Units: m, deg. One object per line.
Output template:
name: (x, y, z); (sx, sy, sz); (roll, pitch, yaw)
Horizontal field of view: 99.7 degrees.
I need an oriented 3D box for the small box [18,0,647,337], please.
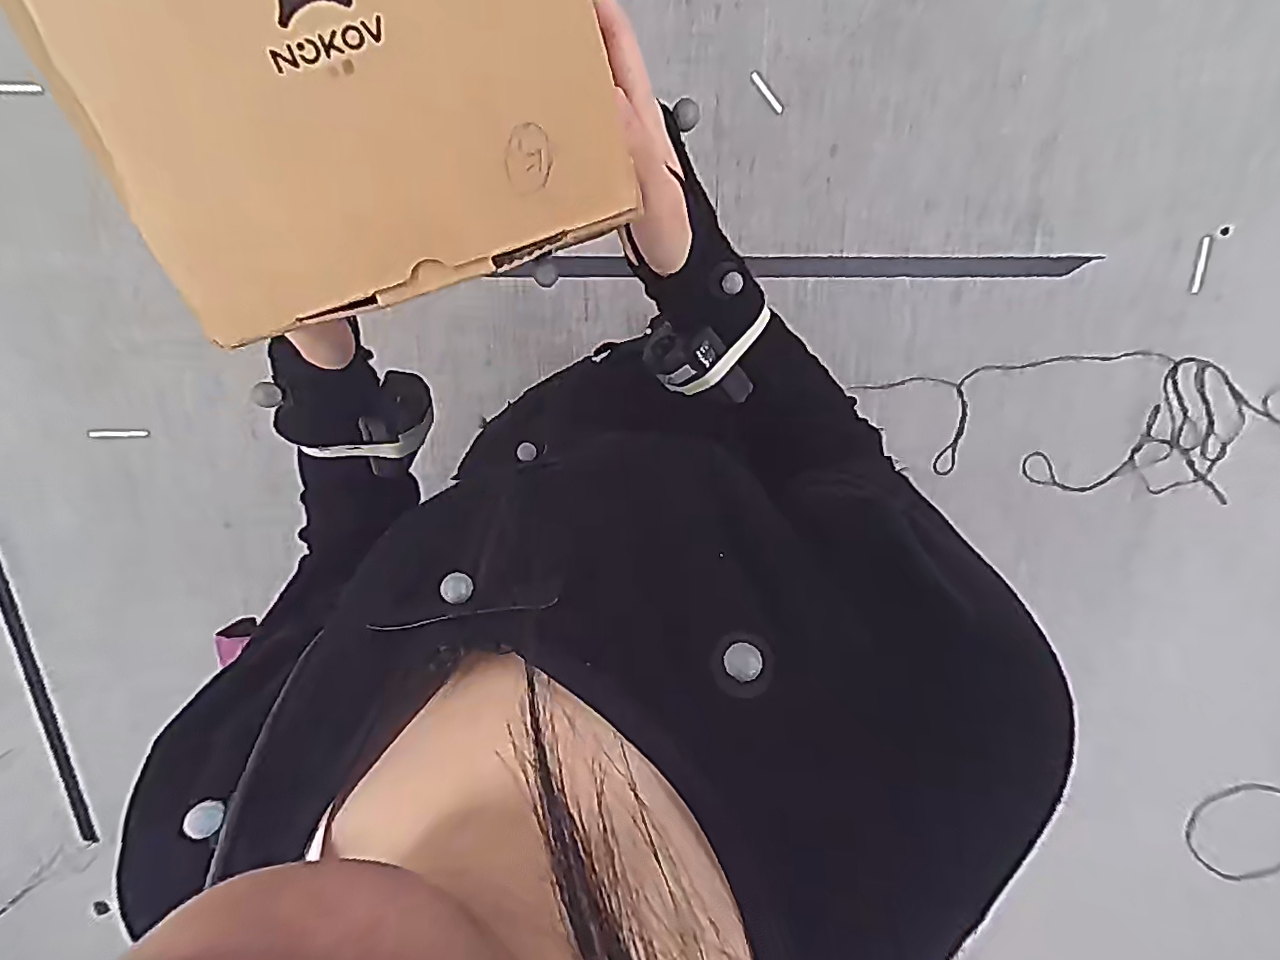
small box: (-0.107, -0.181, 0.234); (0.168, 0.176, 0.179); (-19, 113, -1)
